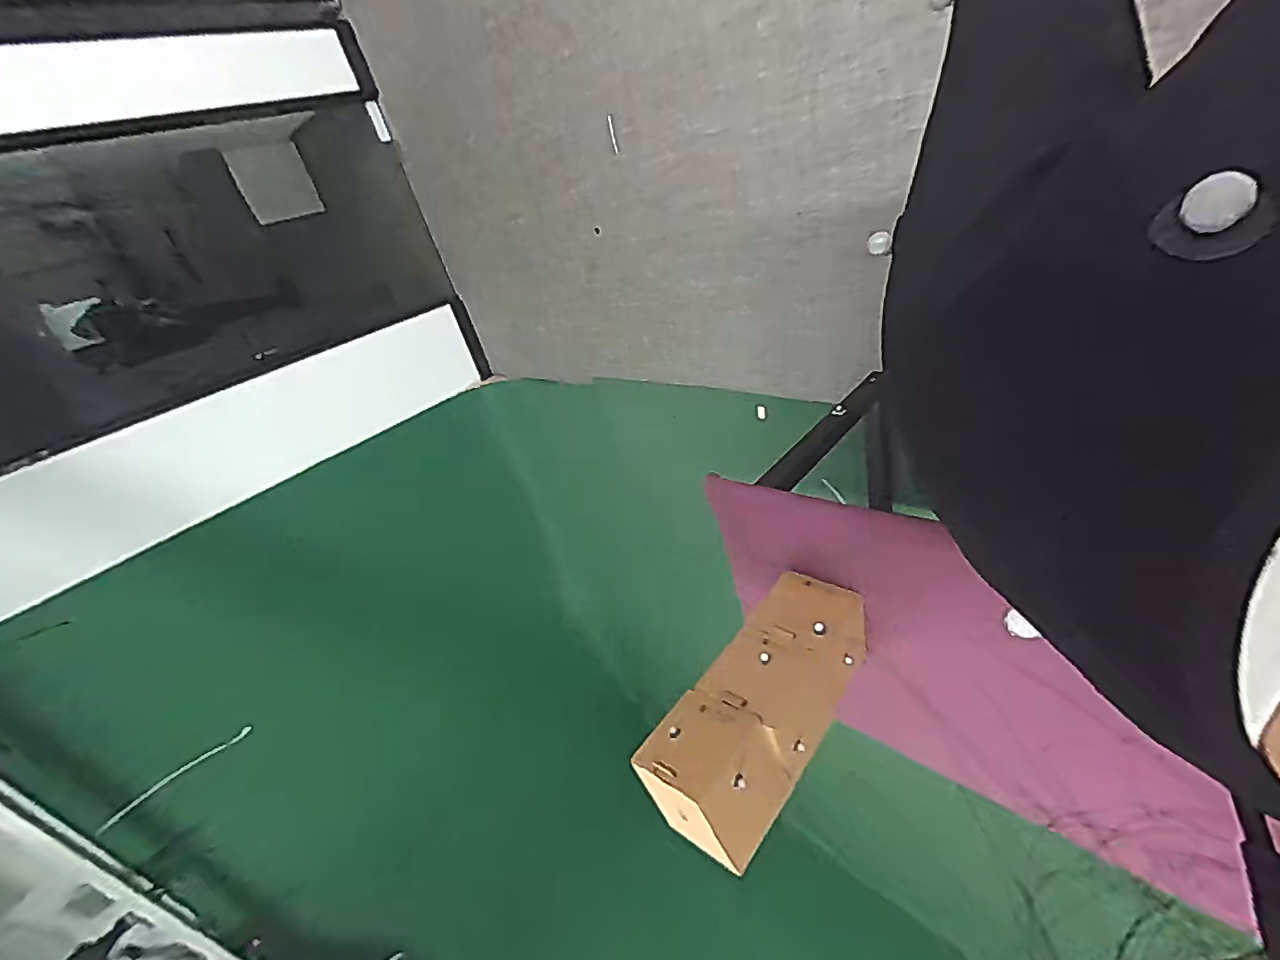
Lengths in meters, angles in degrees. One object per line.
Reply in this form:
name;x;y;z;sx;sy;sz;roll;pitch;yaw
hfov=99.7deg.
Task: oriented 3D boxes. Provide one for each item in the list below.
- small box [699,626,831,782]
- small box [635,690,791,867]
small box;0.240;0.412;1.013;0.168;0.176;0.179;12;130;44
small box;0.129;0.497;0.929;0.168;0.176;0.179;-1;121;51
